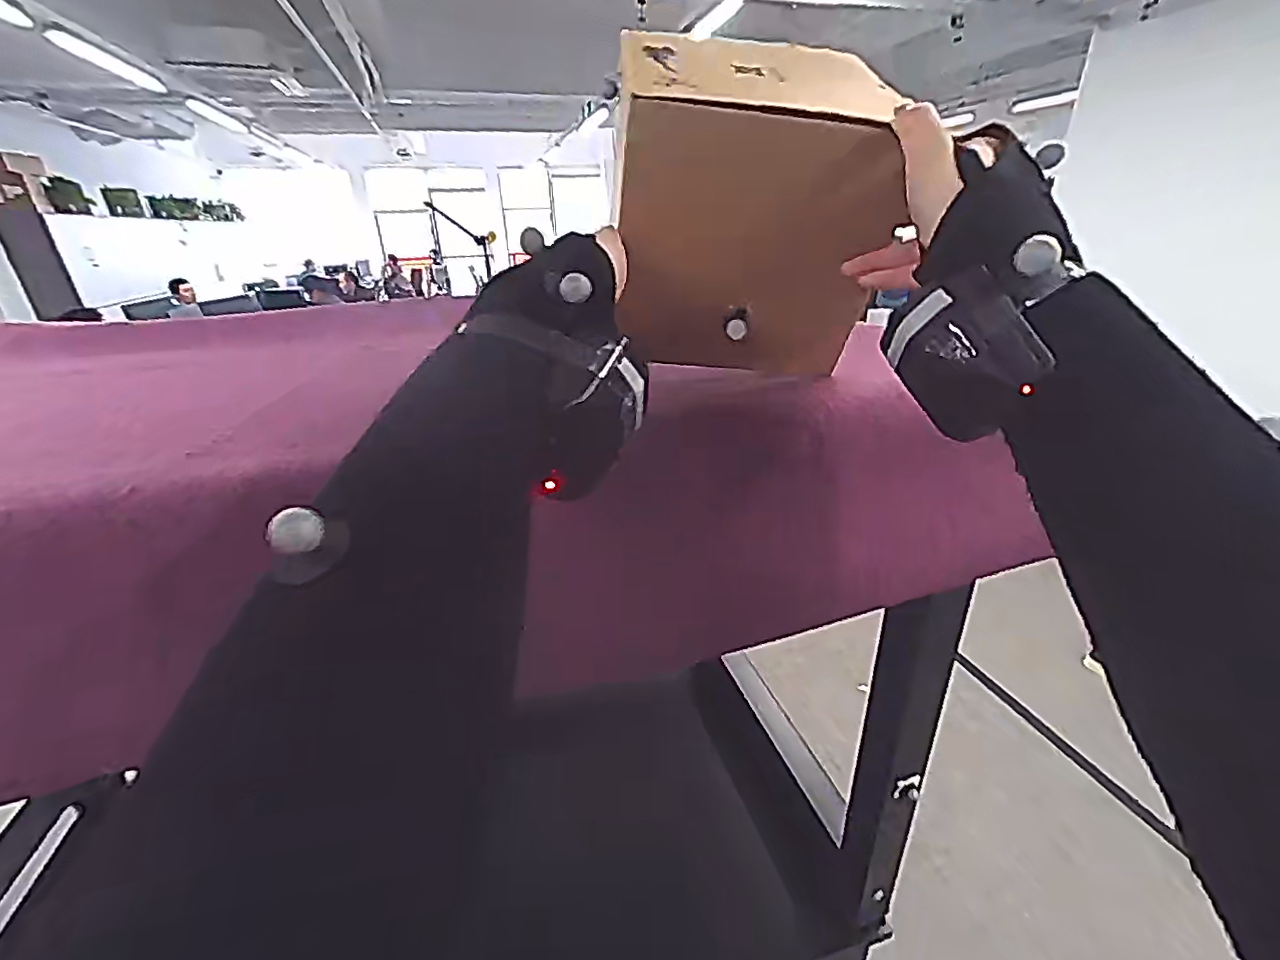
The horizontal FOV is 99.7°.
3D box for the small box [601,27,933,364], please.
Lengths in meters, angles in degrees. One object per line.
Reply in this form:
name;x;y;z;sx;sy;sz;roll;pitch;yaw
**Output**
small box;0.065;-0.202;0.397;0.179;0.176;0.168;2;46;-6
